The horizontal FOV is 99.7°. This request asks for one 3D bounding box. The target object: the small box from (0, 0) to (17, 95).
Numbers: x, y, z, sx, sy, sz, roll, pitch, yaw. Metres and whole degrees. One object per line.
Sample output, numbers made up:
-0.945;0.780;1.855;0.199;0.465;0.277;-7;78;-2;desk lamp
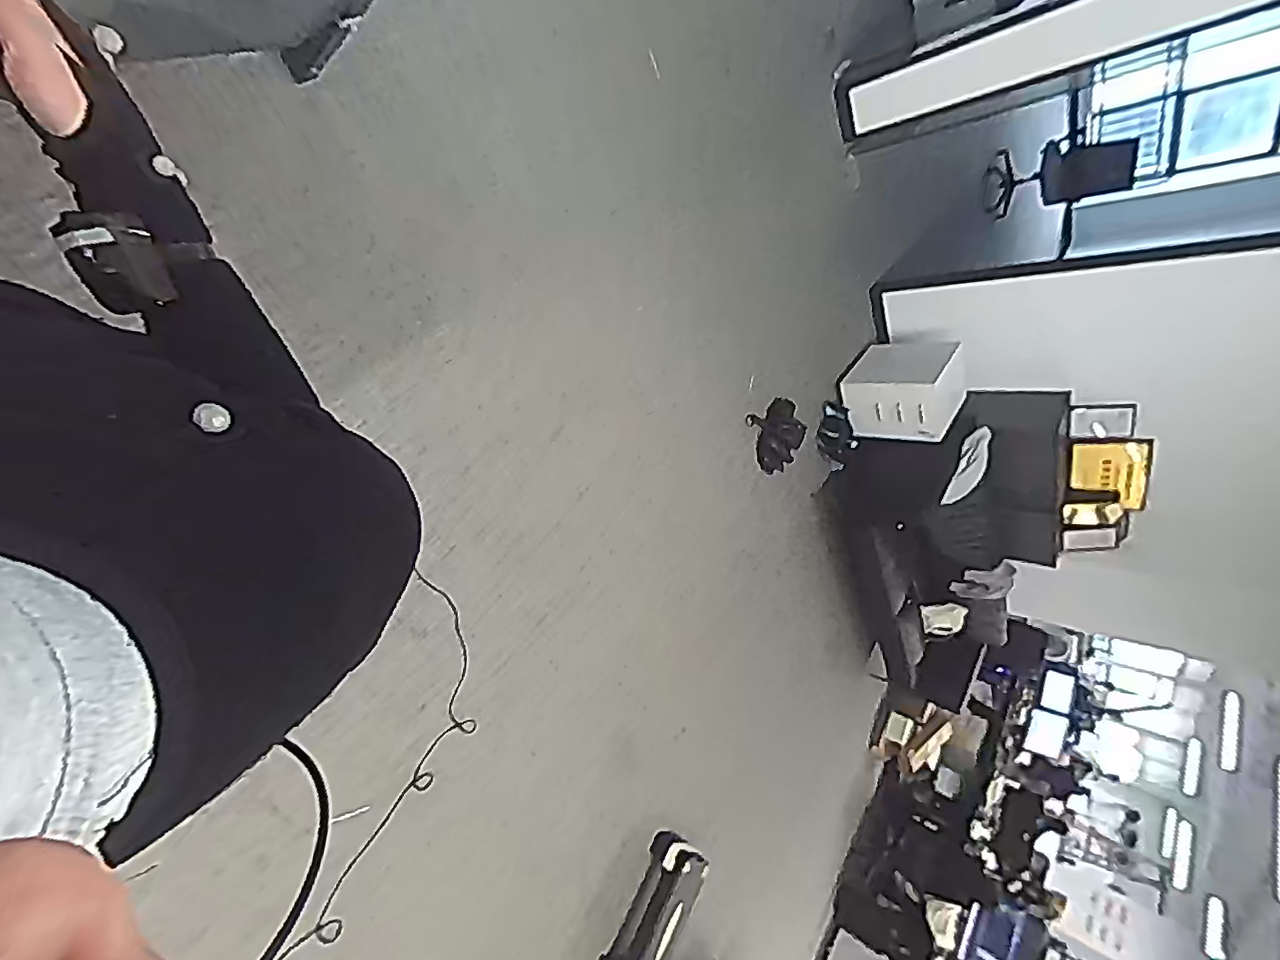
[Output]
-0.435;-0.326;0.250;0.168;0.176;0.179;-10;99;-43;small box
